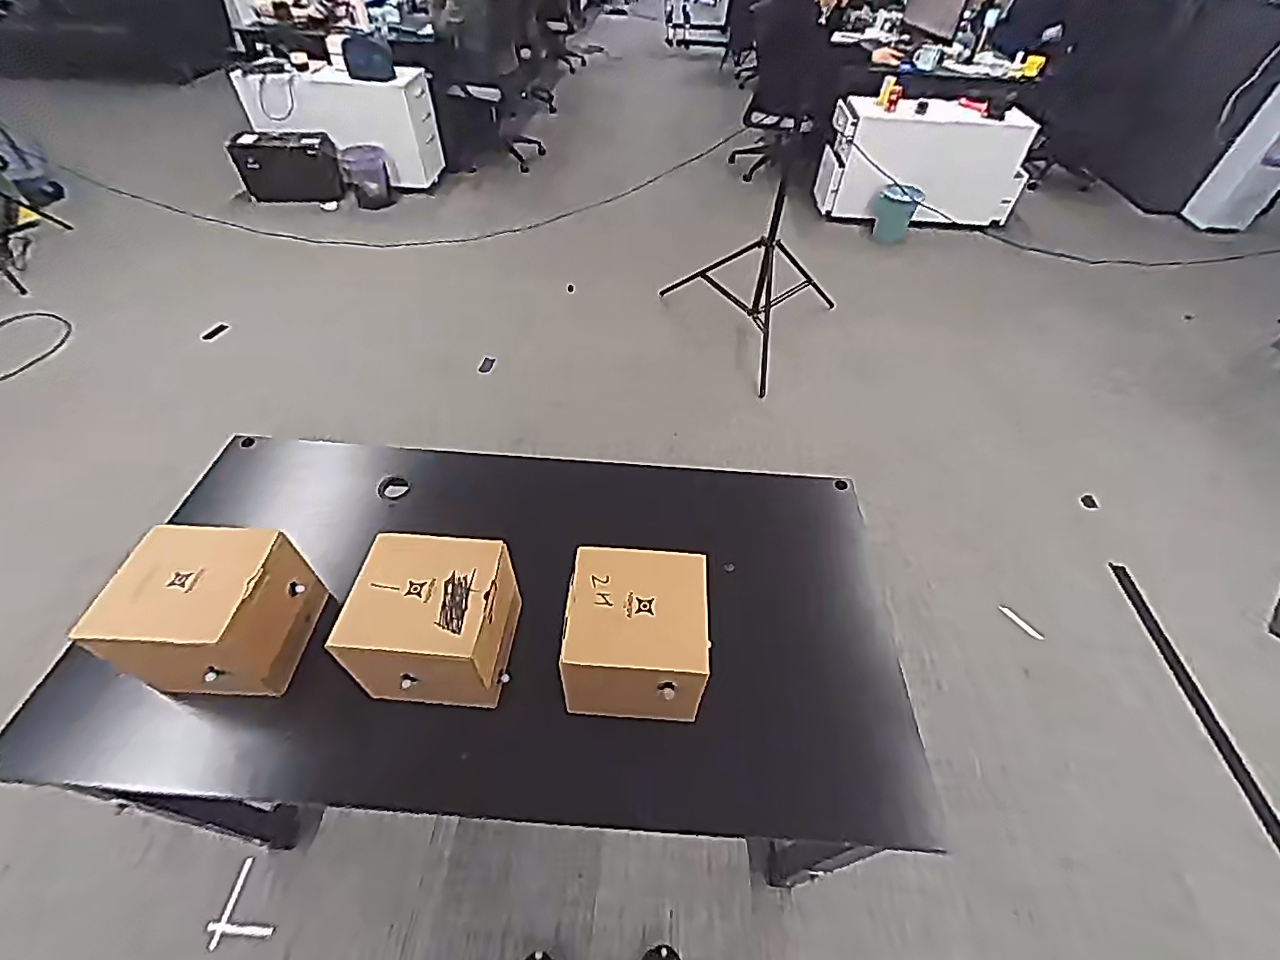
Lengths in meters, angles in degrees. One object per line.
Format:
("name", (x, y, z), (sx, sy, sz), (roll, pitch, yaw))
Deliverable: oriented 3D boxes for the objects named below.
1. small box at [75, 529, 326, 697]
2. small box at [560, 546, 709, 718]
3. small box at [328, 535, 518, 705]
("small box", (-0.570, 0.184, 0.738), (0.179, 0.176, 0.168), (2, 48, -1))
("small box", (-0.005, 0.210, 0.736), (0.179, 0.176, 0.168), (4, 48, 0))
("small box", (-0.275, 0.195, 0.739), (0.179, 0.176, 0.168), (4, 48, 2))
